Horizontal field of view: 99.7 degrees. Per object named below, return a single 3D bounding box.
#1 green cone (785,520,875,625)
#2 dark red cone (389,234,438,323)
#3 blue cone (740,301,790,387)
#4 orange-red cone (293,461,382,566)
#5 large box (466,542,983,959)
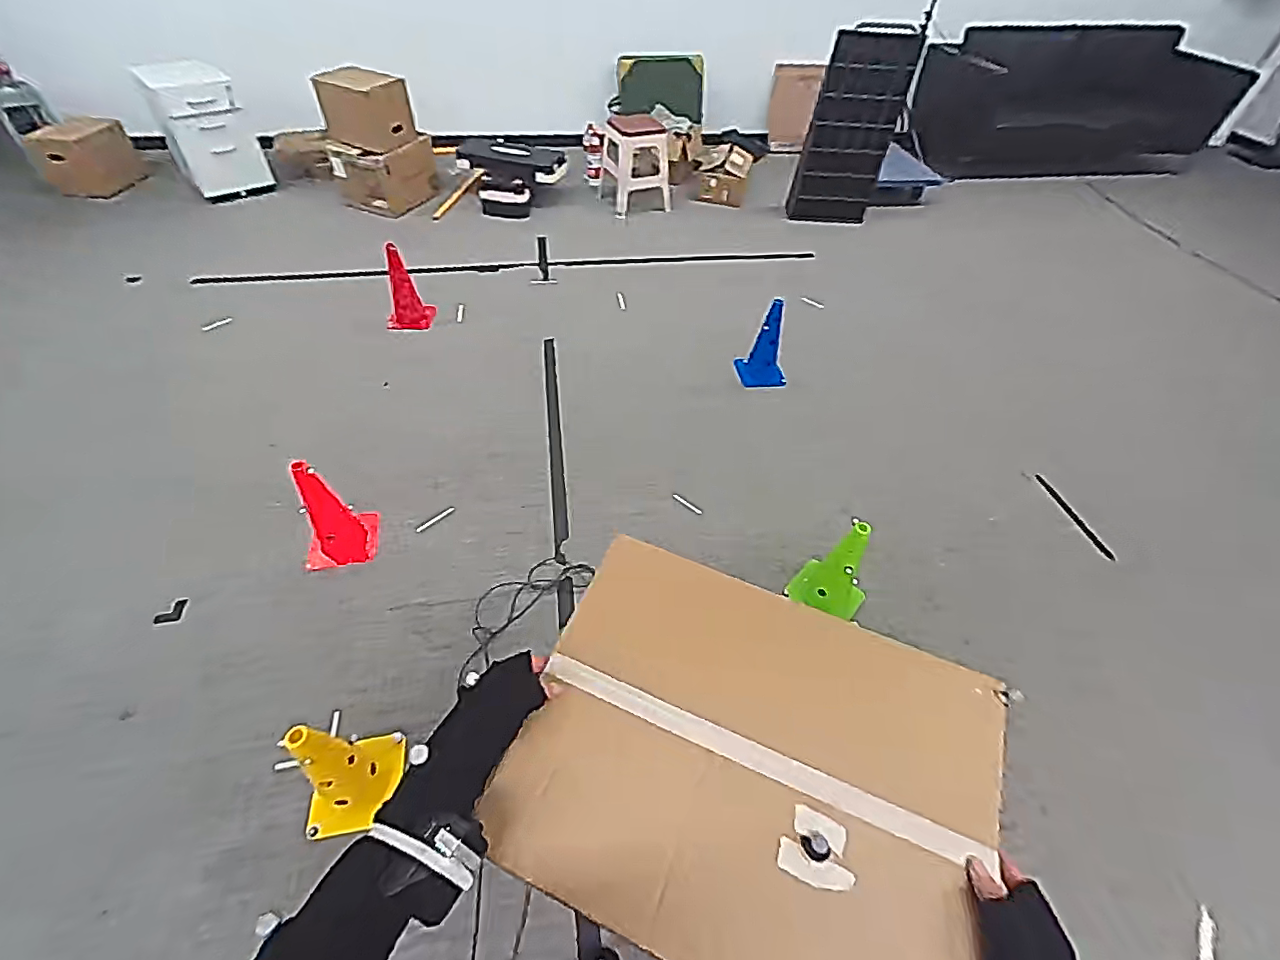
[{"bbox_3d":[0.589,0.245,1.555,0.200,0.368,0.202,37,55,25],"label":"green cone"},{"bbox_3d":[-1.067,-0.913,2.451,0.201,0.394,0.202,0,49,-5],"label":"dark red cone"},{"bbox_3d":[0.567,-0.591,2.318,0.192,0.380,0.193,-2,49,-7],"label":"blue cone"},{"bbox_3d":[-0.938,0.076,1.615,0.198,0.360,0.199,-7,51,-9],"label":"orange-red cone"},{"bbox_3d":[0.089,0.329,0.603,0.408,0.320,0.320,20,56,13],"label":"large box"}]
